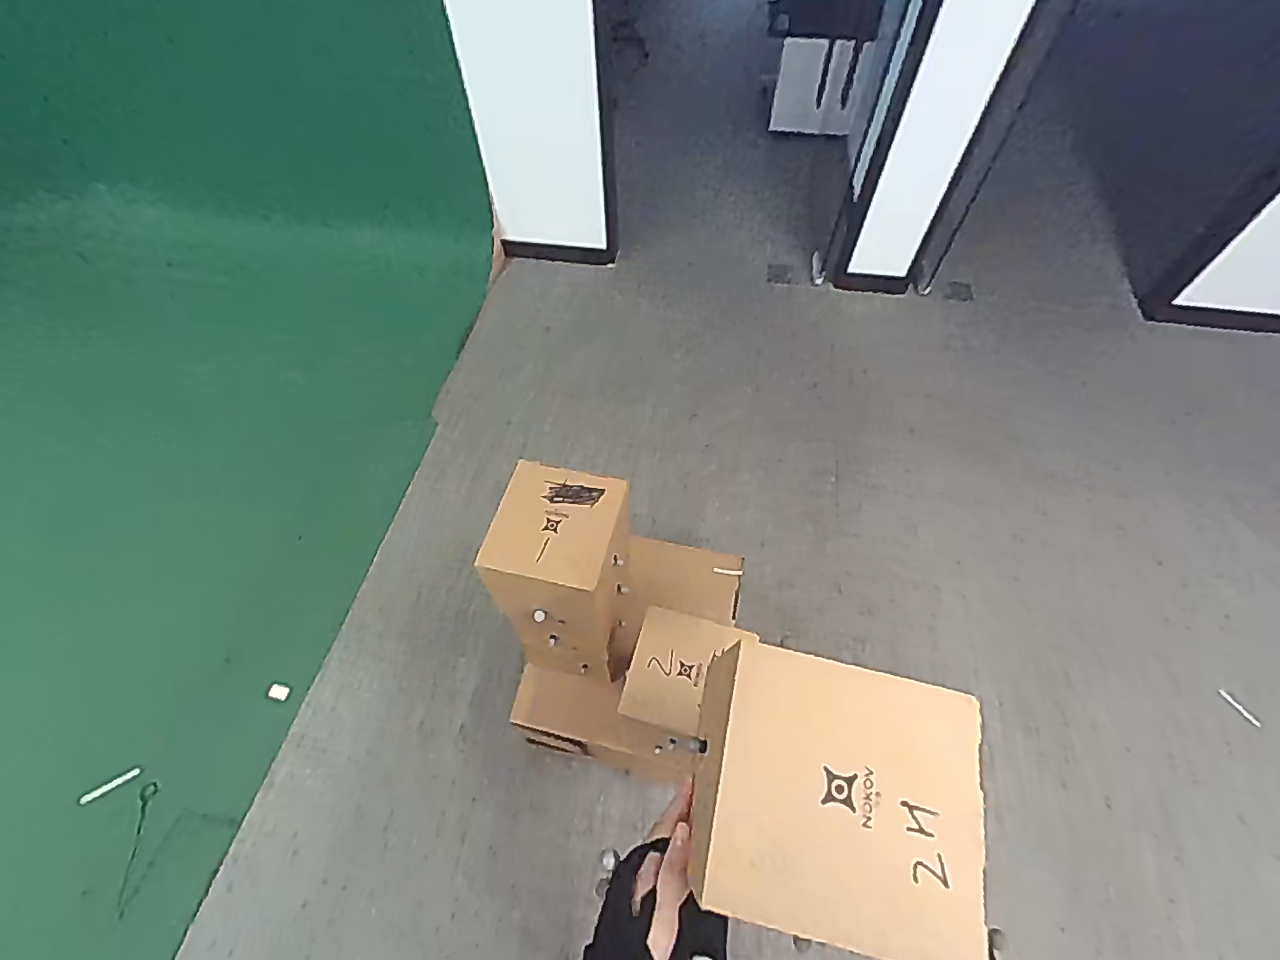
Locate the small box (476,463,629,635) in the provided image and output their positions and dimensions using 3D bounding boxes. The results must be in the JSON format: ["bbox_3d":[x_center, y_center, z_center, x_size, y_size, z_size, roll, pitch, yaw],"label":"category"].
[{"bbox_3d":[-0.116,0.105,0.799,0.168,0.176,0.179,11,57,8],"label":"small box"}]

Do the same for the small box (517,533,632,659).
[{"bbox_3d":[-0.114,0.188,0.941,0.168,0.176,0.179,11,57,8],"label":"small box"}]

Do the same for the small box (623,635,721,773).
[{"bbox_3d":[0.069,0.411,0.981,0.168,0.176,0.179,13,55,9],"label":"small box"}]

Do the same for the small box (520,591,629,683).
[{"bbox_3d":[-0.118,0.284,1.073,0.168,0.176,0.179,11,55,8],"label":"small box"}]

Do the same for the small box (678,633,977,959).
[{"bbox_3d":[0.132,0.237,0.433,0.179,0.176,0.168,13,65,4],"label":"small box"}]
